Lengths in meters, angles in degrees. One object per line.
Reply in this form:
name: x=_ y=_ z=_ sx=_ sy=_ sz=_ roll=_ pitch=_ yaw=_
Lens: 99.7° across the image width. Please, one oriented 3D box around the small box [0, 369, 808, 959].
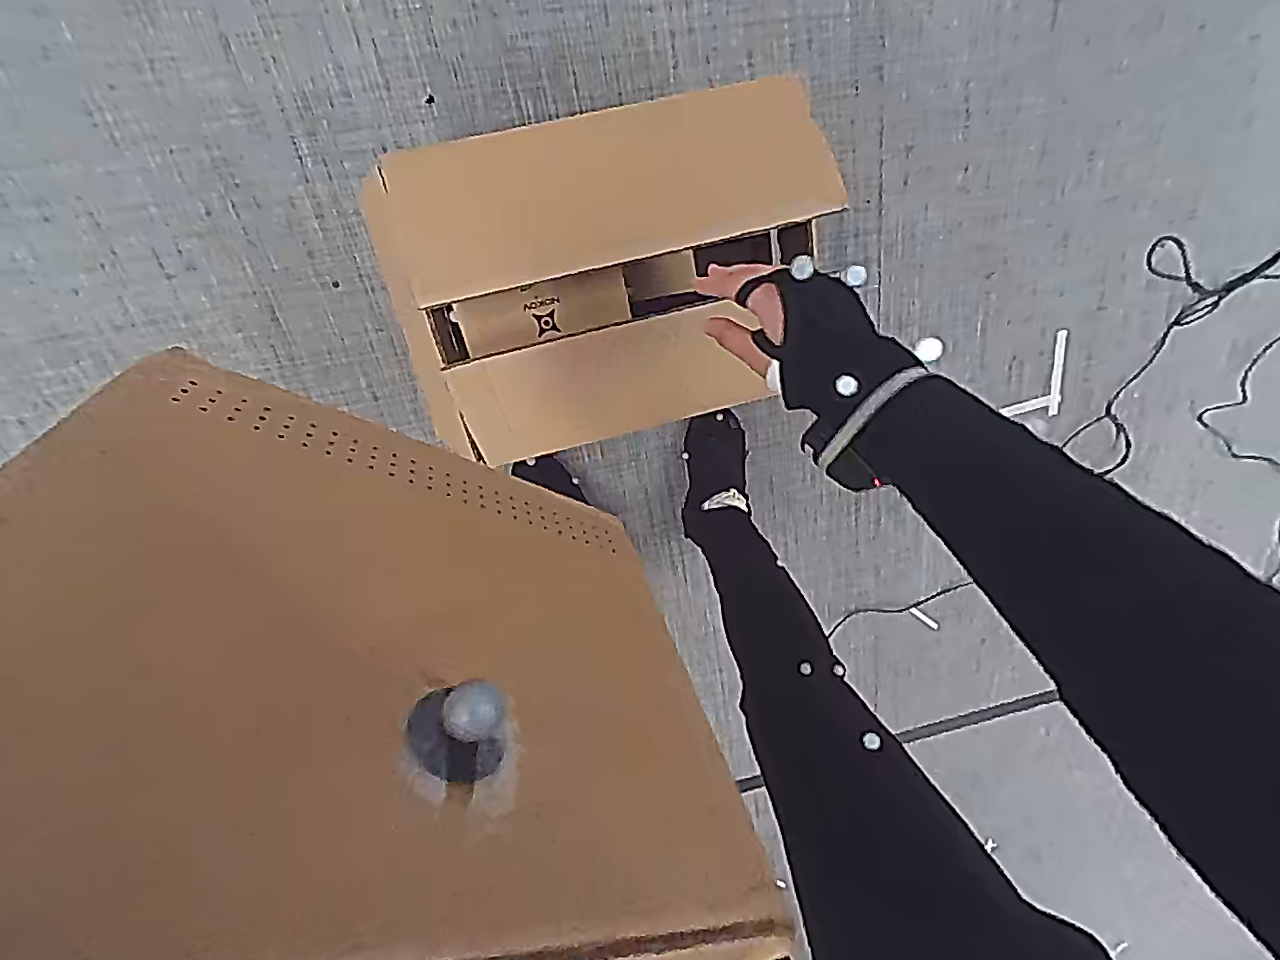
small box: x=-0.096 y=0.091 z=0.162 sx=0.179 sy=0.176 sz=0.168 roll=24 pitch=110 yaw=-30
